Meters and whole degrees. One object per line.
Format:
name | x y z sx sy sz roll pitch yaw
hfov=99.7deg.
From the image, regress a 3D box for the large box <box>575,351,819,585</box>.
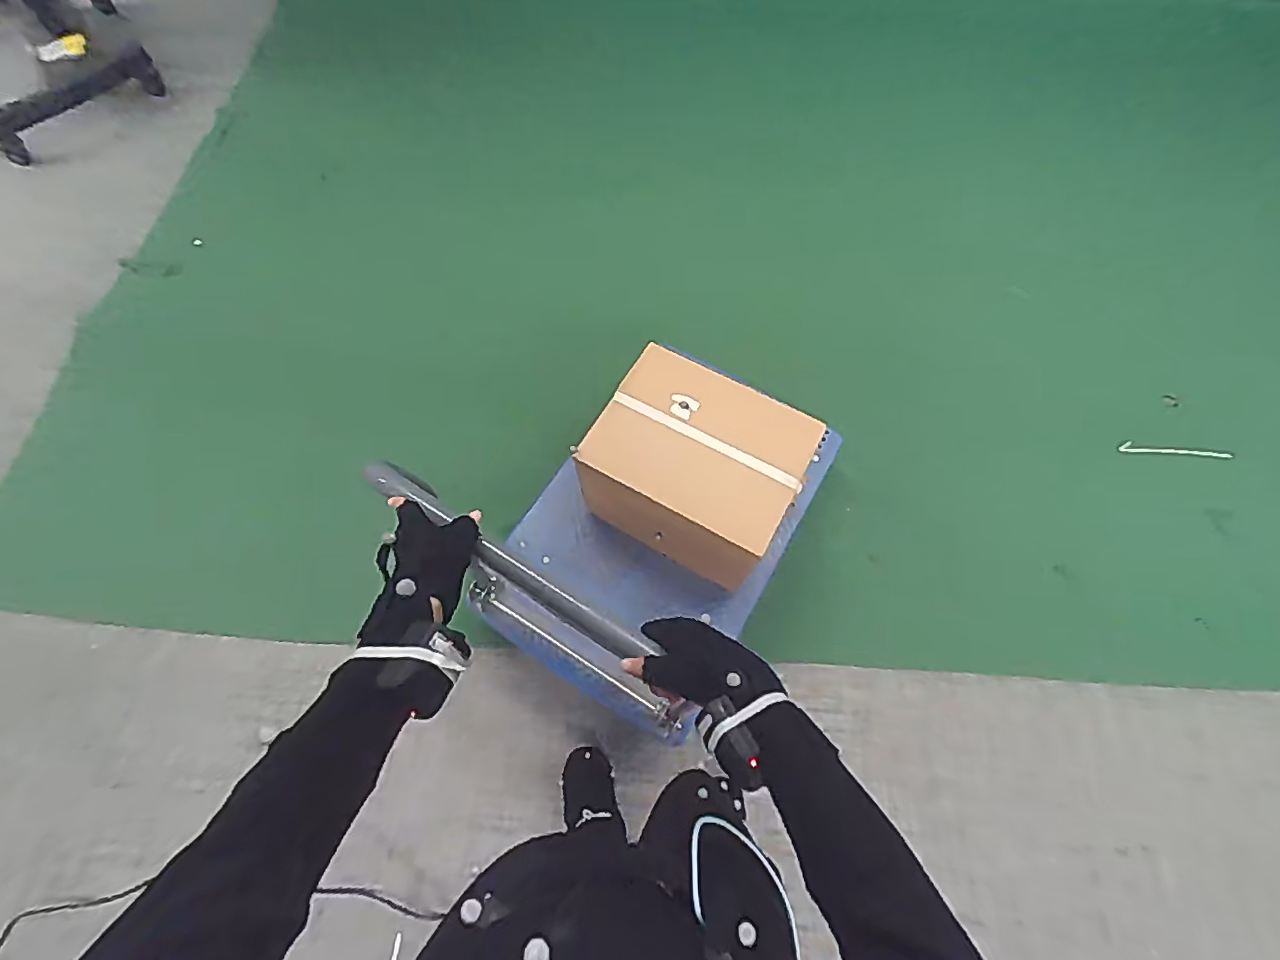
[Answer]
large box | 0.120 -0.014 1.206 0.408 0.320 0.320 27 69 11
